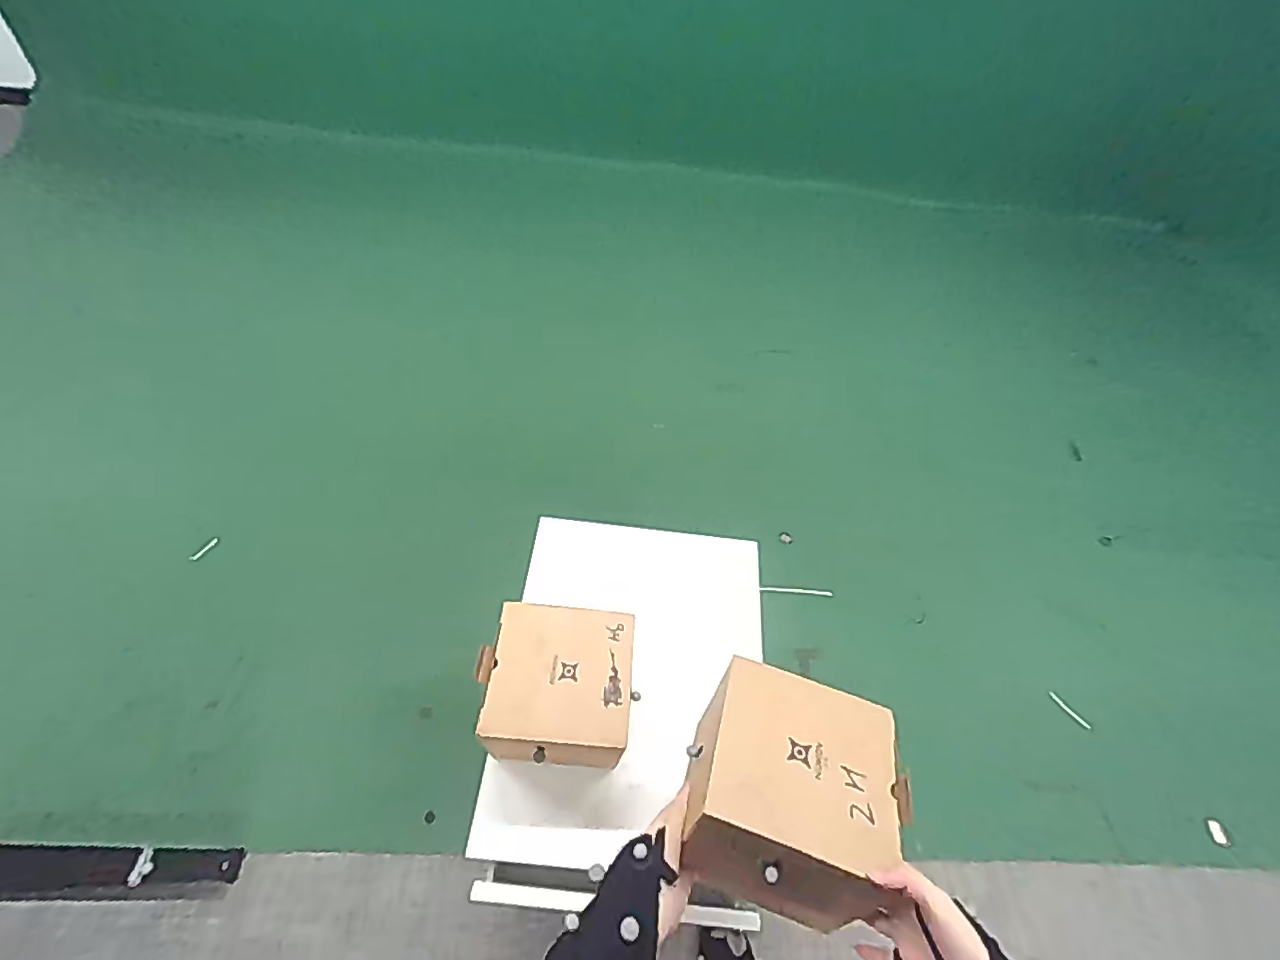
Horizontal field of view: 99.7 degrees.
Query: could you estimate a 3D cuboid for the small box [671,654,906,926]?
[{"bbox_3d":[0.143,0.318,0.556,0.179,0.176,0.168,19,41,7],"label":"small box"}]
